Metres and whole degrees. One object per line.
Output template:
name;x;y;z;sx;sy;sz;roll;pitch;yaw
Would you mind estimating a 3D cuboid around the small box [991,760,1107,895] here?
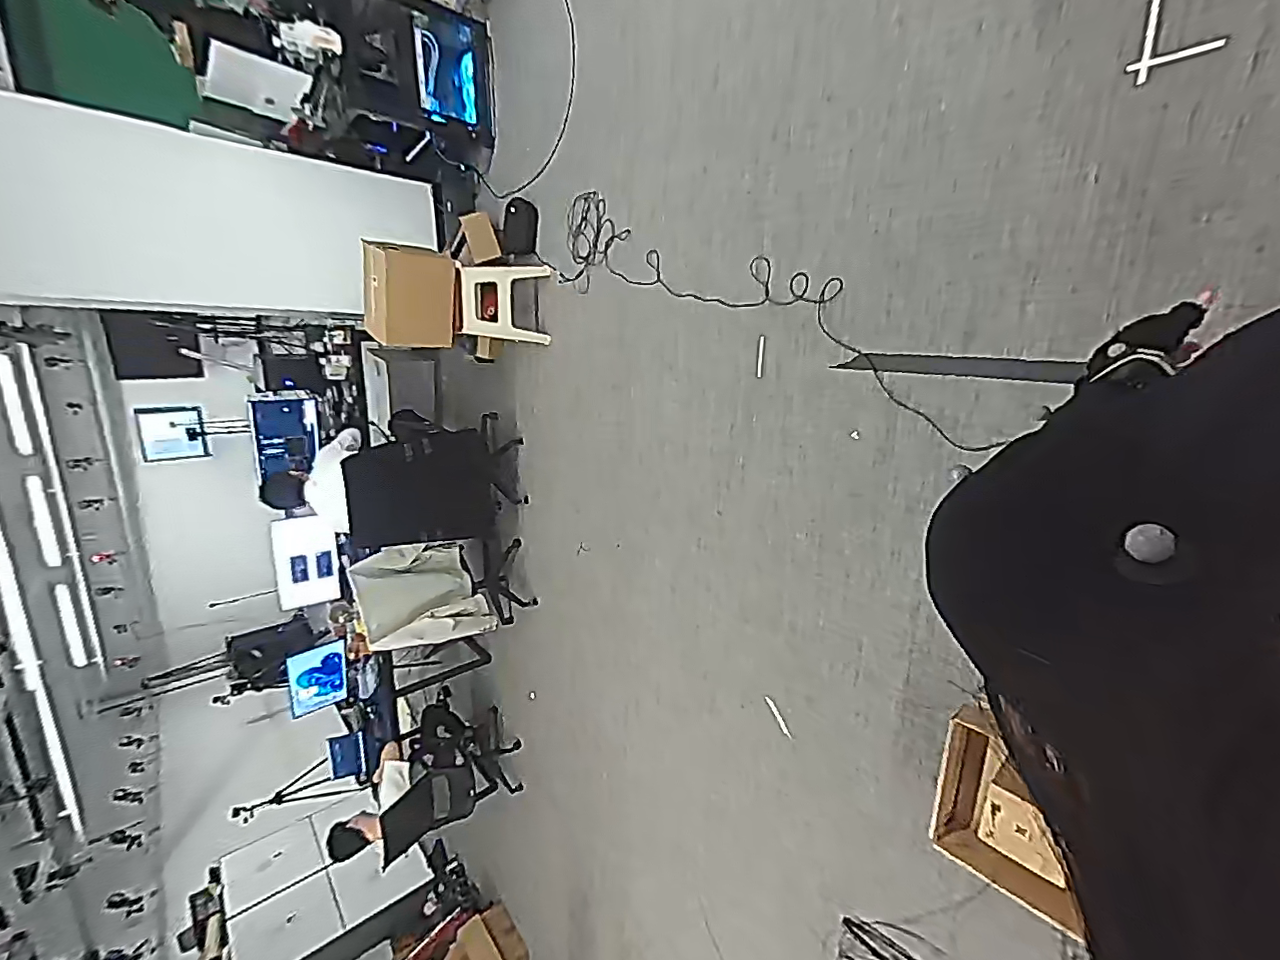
small box;0.966;0.803;1.274;0.179;0.176;0.168;16;109;46
